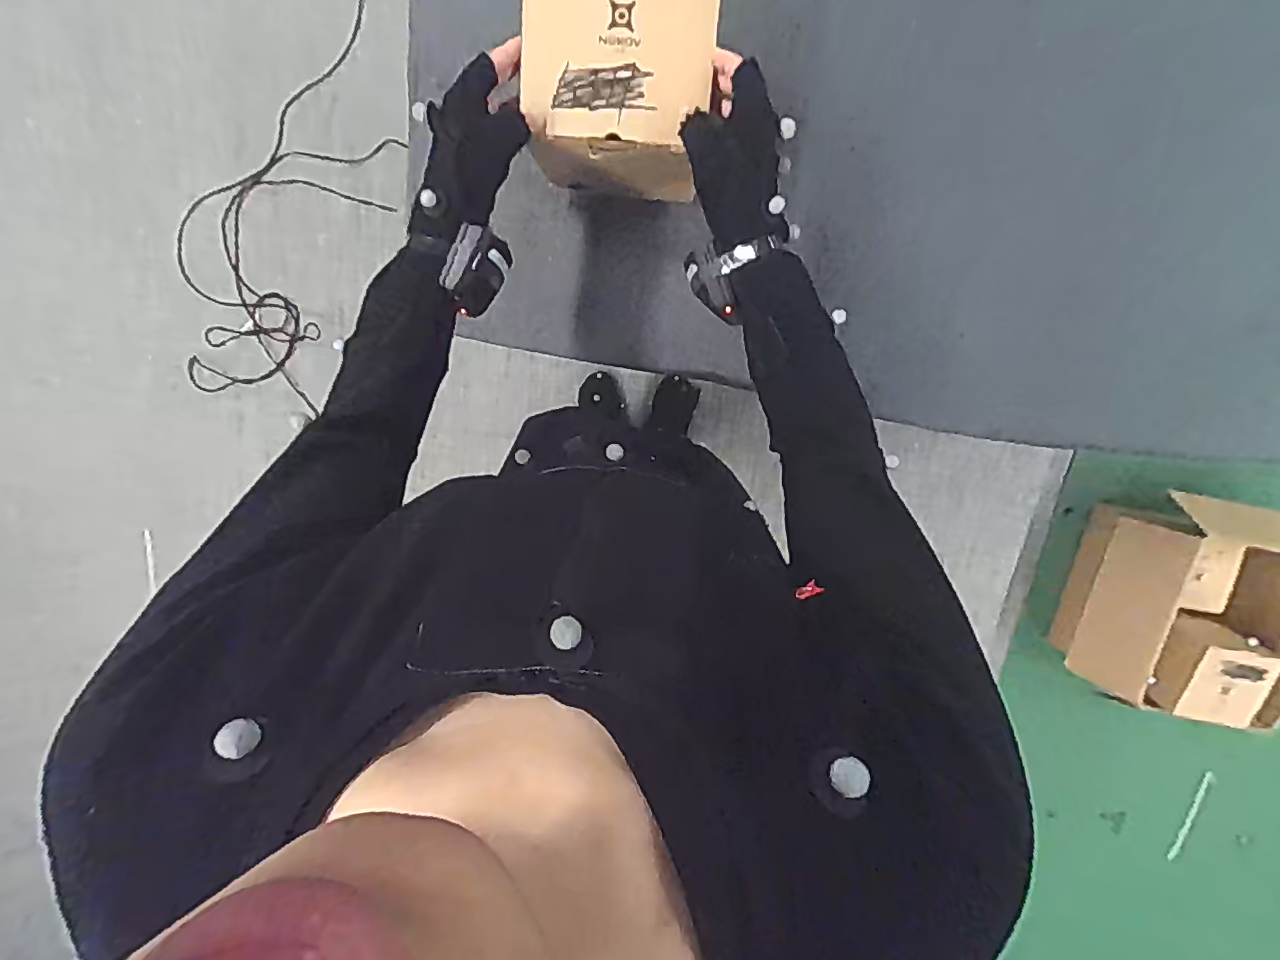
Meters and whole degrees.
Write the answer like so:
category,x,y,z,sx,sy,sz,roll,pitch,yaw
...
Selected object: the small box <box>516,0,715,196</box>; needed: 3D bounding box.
category,x,y,z,sx,sy,sz,roll,pitch,yaw
small box,-0.018,-0.399,0.534,0.168,0.176,0.179,5,103,0
